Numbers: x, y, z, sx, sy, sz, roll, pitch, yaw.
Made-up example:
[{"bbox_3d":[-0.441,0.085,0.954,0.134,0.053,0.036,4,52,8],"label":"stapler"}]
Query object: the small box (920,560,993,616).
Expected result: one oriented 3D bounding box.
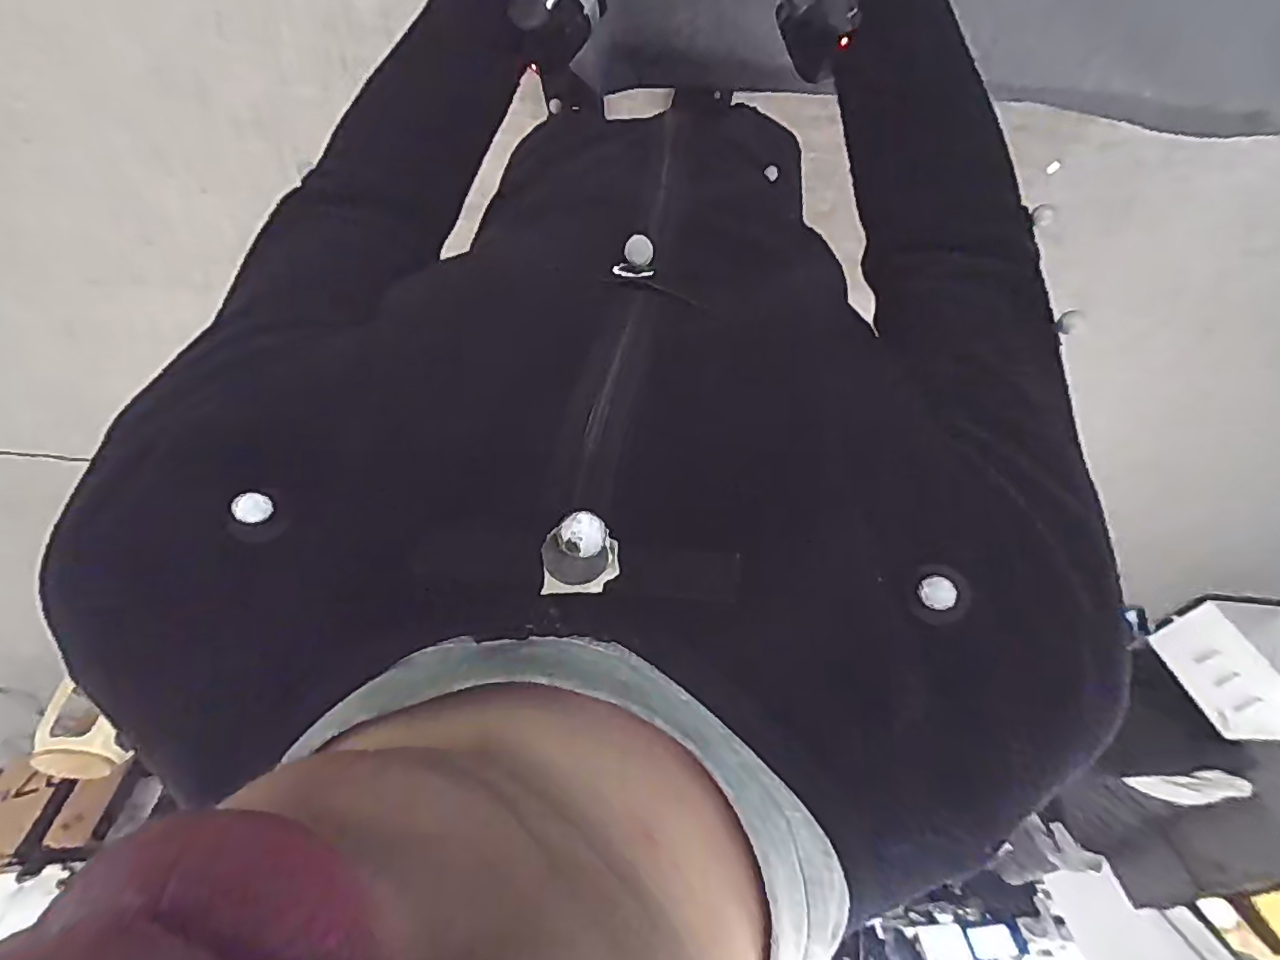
[{"bbox_3d":[1.300,0.446,2.237,0.168,0.176,0.179,2,135,-7],"label":"small box"}]
